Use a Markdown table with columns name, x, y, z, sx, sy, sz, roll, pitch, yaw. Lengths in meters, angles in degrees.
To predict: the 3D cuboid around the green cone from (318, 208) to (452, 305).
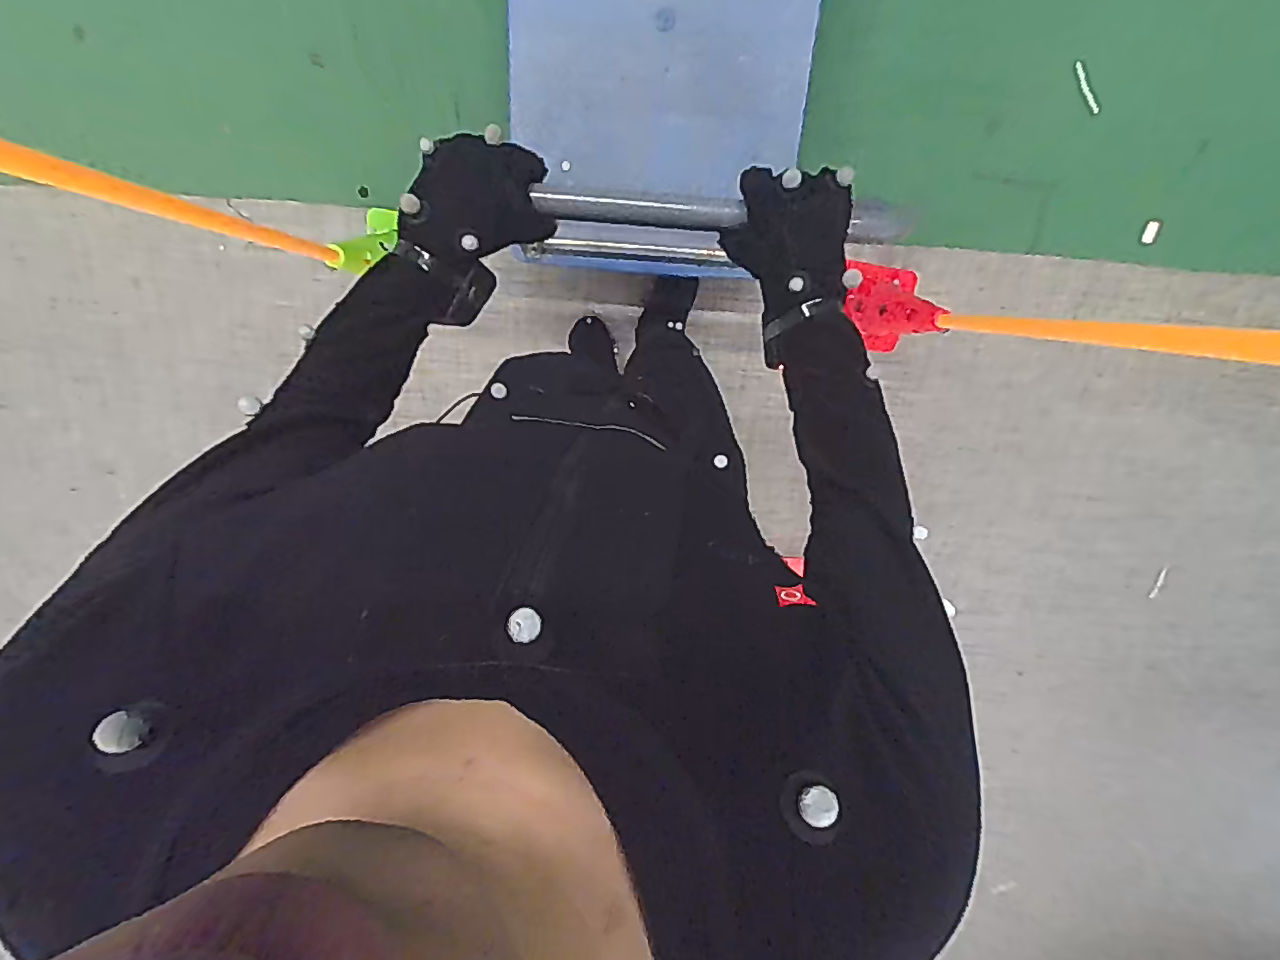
| name | x | y | z | sx | sy | sz | roll | pitch | yaw |
| --- | --- | --- | --- | --- | --- | --- | --- | --- | --- |
| green cone | -0.559 | -0.478 | 1.150 | 0.202 | 0.368 | 0.200 | 8 | 110 | -3 |

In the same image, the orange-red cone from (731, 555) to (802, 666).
| name | x | y | z | sx | sy | sz | roll | pitch | yaw |
| --- | --- | --- | --- | --- | --- | --- | --- | --- | --- |
| orange-red cone | 0.381 | 0.381 | 1.492 | 0.199 | 0.360 | 0.198 | 4 | 111 | 0 |
